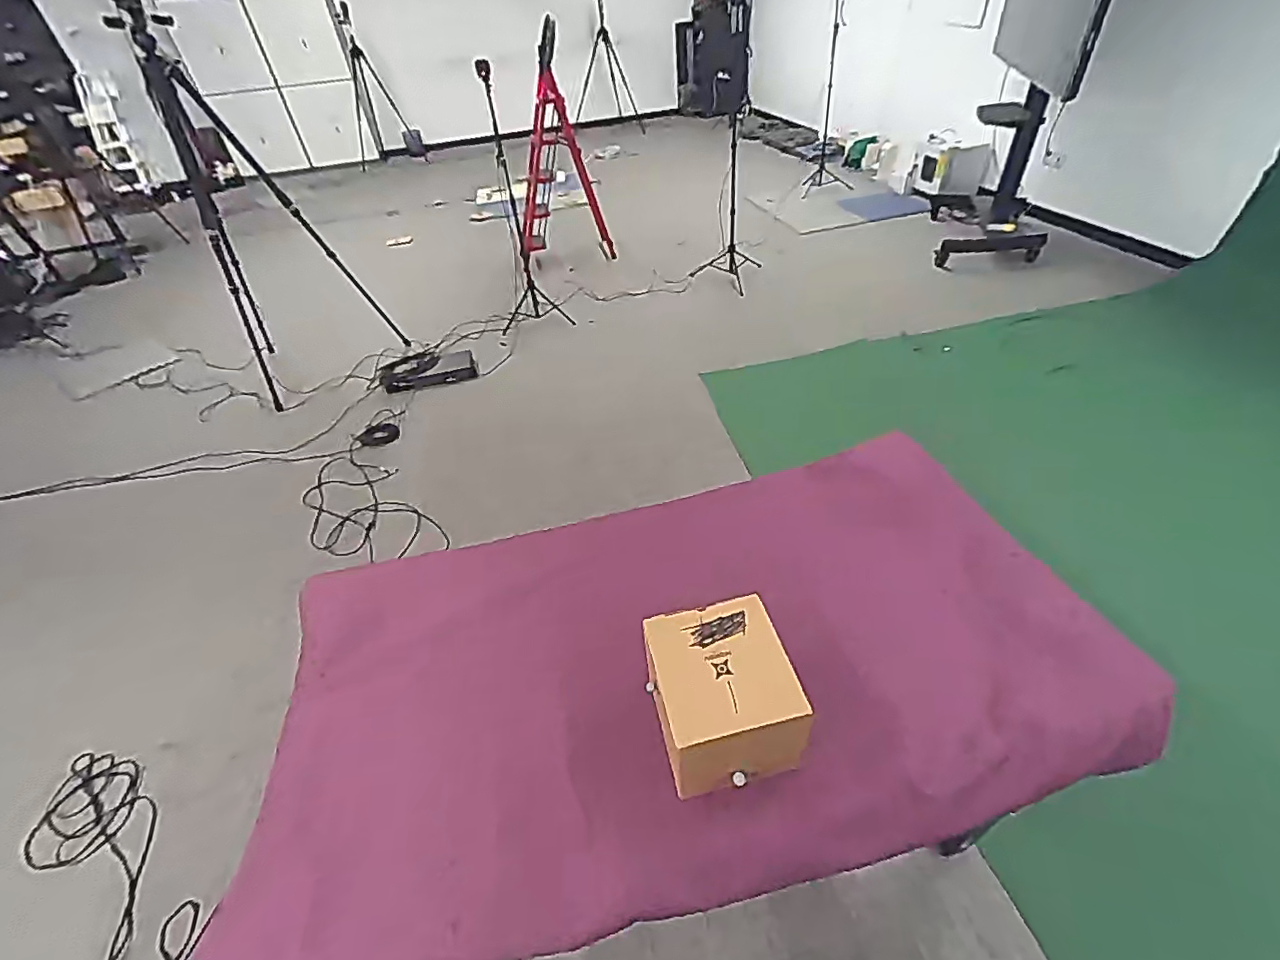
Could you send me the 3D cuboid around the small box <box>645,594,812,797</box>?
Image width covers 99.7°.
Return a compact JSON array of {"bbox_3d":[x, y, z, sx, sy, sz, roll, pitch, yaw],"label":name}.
[{"bbox_3d":[0.105,0.284,0.718,0.168,0.176,0.179,-12,42,-5],"label":"small box"}]
